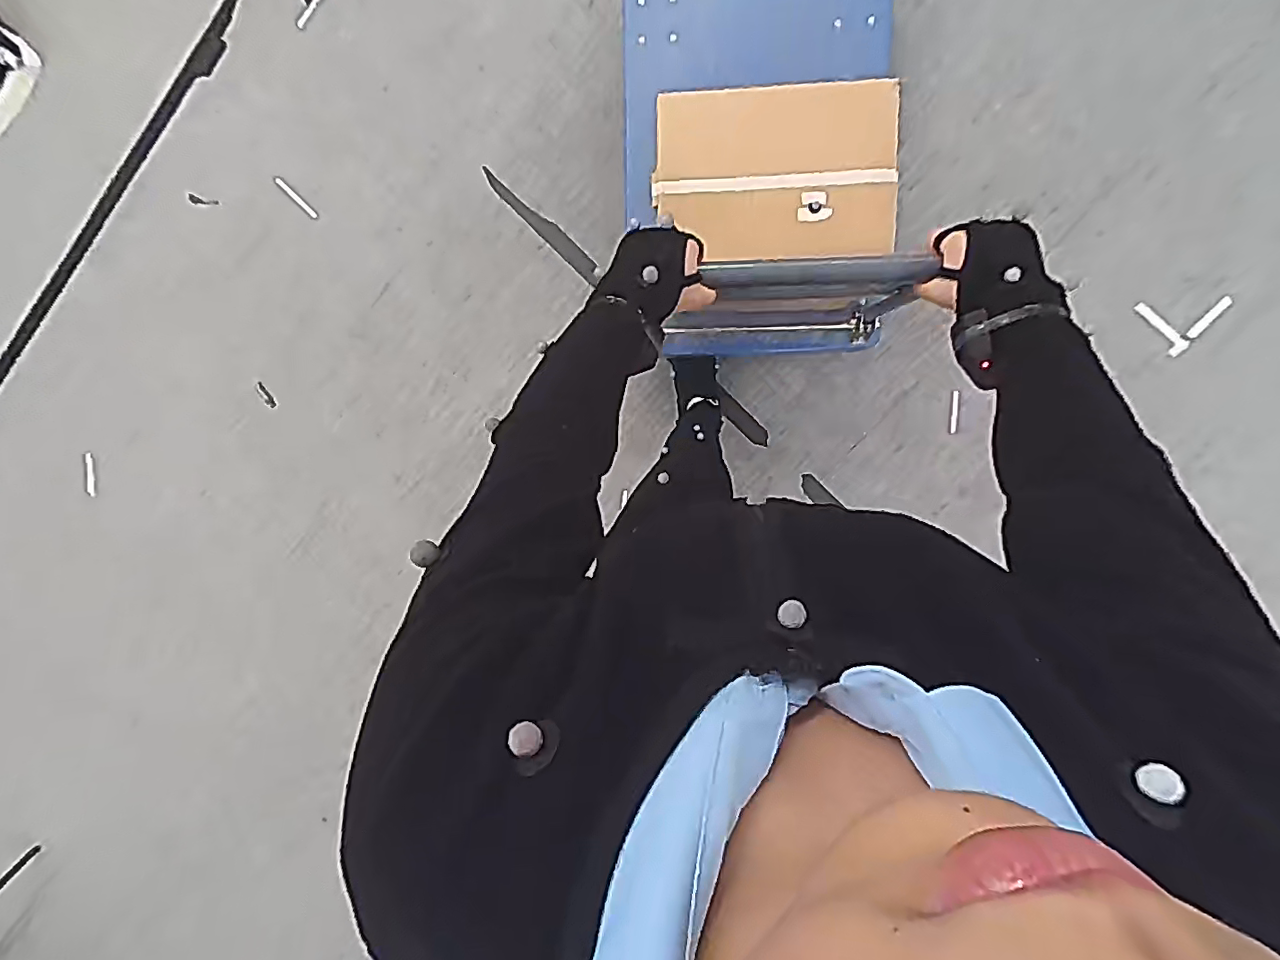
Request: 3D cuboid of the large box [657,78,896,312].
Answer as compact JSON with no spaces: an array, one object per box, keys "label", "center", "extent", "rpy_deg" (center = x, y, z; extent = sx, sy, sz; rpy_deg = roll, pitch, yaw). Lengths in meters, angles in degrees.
[{"label":"large box","center":[0.244,-0.531,1.079],"extent":[0.408,0.320,0.320],"rpy_deg":[-1,97,4]}]
